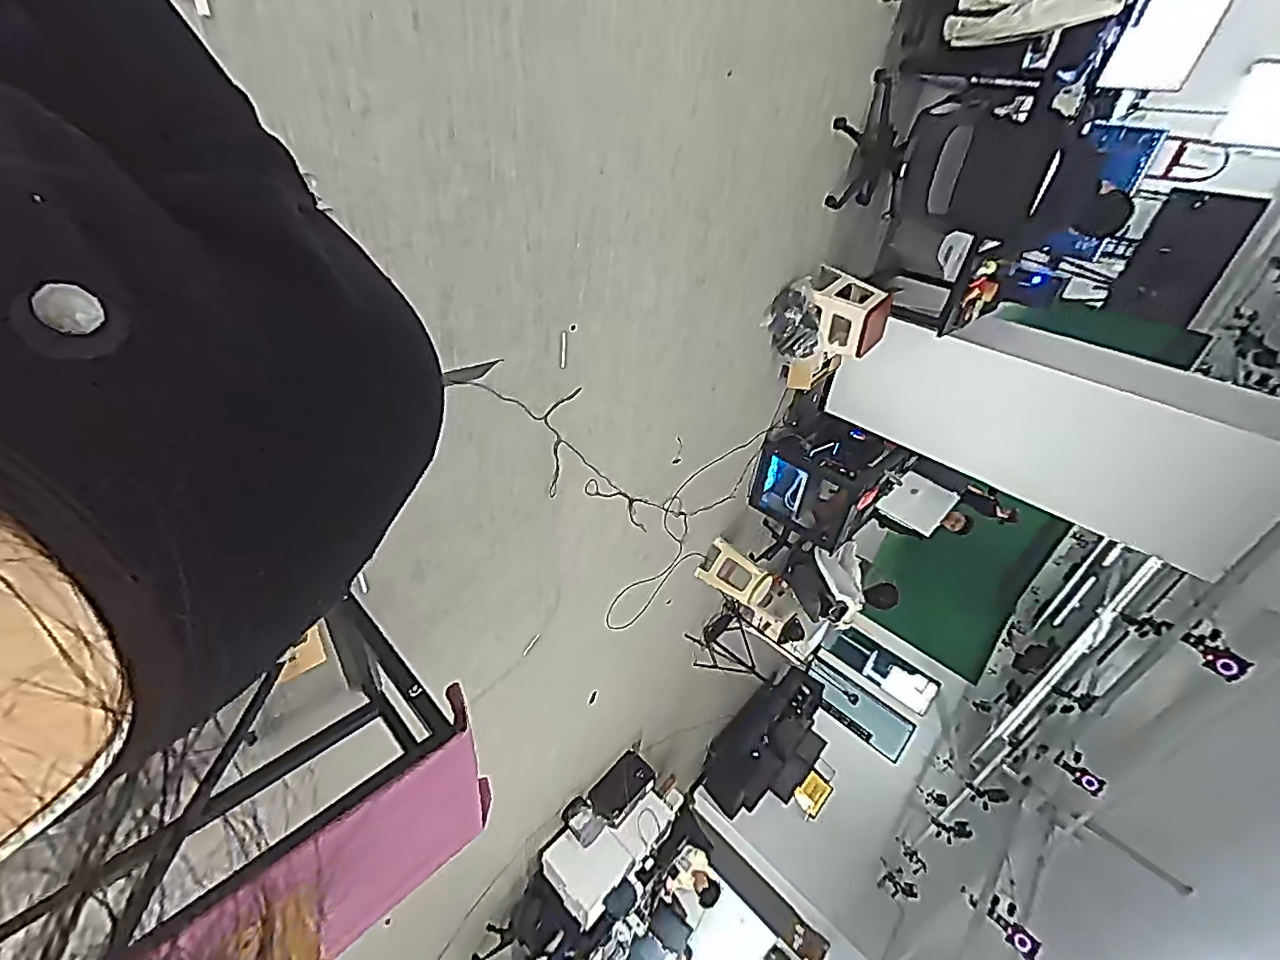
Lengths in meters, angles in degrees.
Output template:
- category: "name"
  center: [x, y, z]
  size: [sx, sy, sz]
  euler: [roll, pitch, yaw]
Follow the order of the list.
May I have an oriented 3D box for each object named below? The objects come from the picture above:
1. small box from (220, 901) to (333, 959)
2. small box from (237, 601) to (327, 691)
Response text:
- category: "small box"
  center: [-0.782, 1.075, 1.178]
  size: [0.168, 0.176, 0.179]
  euler: [-26, 138, -40]
- category: "small box"
  center: [-1.089, 0.493, 1.643]
  size: [0.168, 0.176, 0.179]
  euler: [-27, 138, -40]
